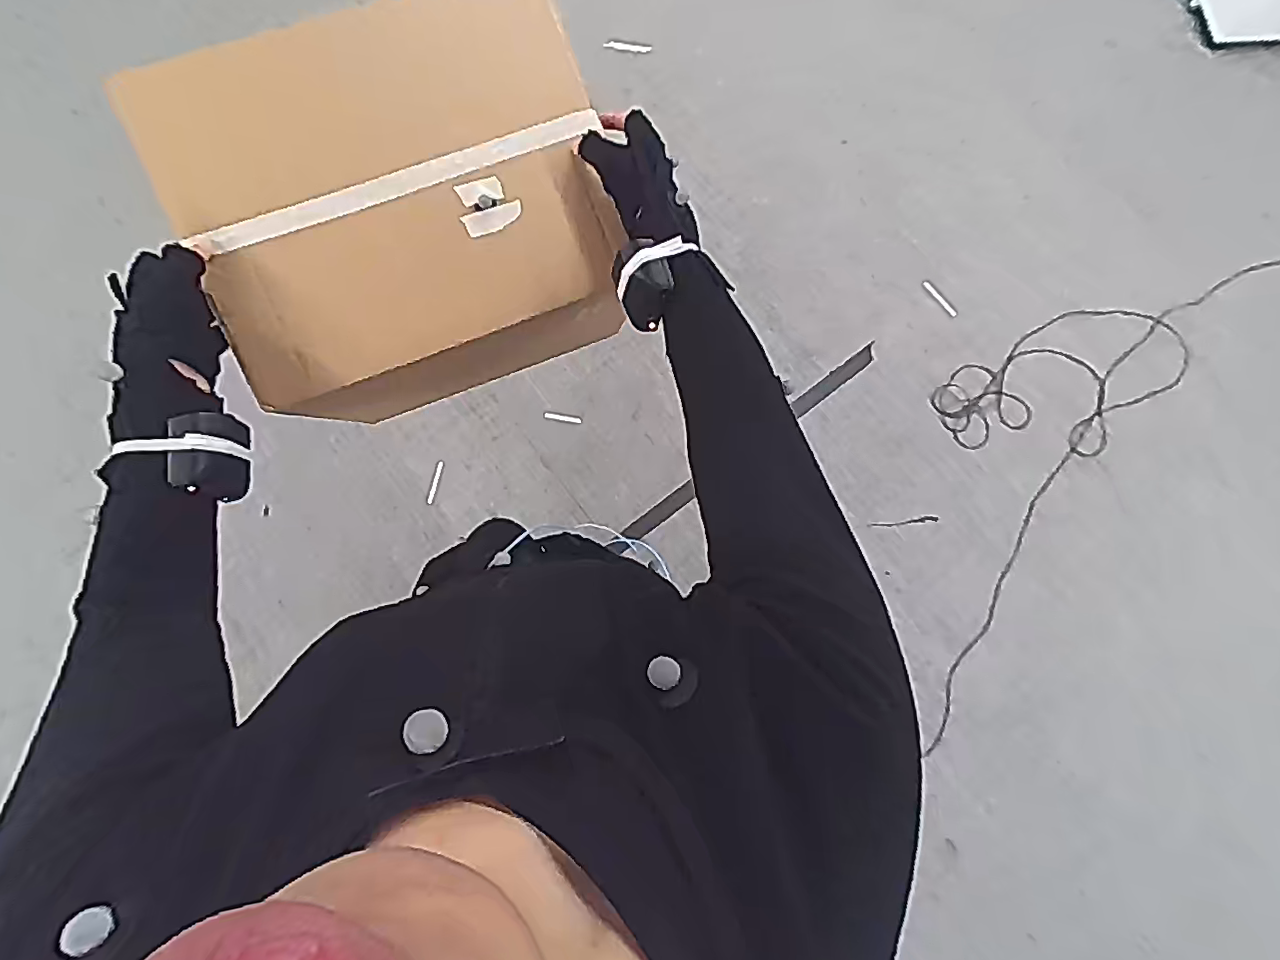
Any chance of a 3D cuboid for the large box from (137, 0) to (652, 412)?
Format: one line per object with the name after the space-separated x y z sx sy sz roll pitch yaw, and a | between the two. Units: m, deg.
-0.246 -0.305 0.674 0.408 0.320 0.320 -22 97 -8 | large box
